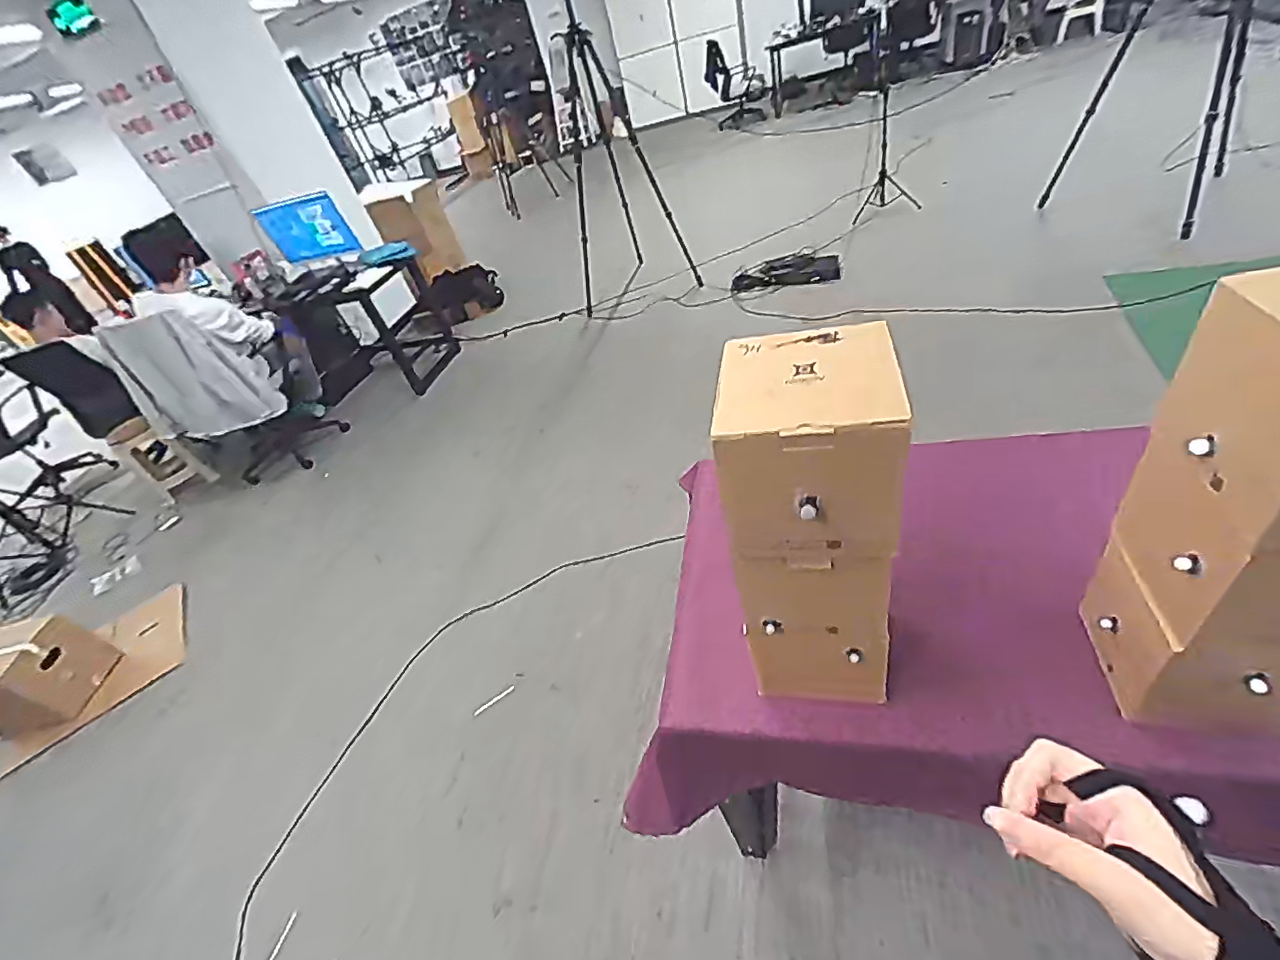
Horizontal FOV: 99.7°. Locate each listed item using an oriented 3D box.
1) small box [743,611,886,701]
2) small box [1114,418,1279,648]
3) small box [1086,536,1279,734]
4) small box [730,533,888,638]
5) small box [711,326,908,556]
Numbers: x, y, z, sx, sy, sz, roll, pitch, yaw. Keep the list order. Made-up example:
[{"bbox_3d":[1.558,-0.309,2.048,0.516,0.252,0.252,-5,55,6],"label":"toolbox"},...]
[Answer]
[{"bbox_3d":[0.251,0.201,0.782,0.179,0.176,0.168,-3,42,17],"label":"small box"},{"bbox_3d":[0.628,0.057,0.540,0.168,0.176,0.179,-3,41,17],"label":"small box"},{"bbox_3d":[0.667,0.180,0.640,0.179,0.176,0.168,-2,43,19],"label":"small box"},{"bbox_3d":[0.212,0.080,0.678,0.168,0.176,0.179,-3,41,17],"label":"small box"},{"bbox_3d":[0.176,-0.035,0.566,0.168,0.176,0.179,-2,43,17],"label":"small box"}]
